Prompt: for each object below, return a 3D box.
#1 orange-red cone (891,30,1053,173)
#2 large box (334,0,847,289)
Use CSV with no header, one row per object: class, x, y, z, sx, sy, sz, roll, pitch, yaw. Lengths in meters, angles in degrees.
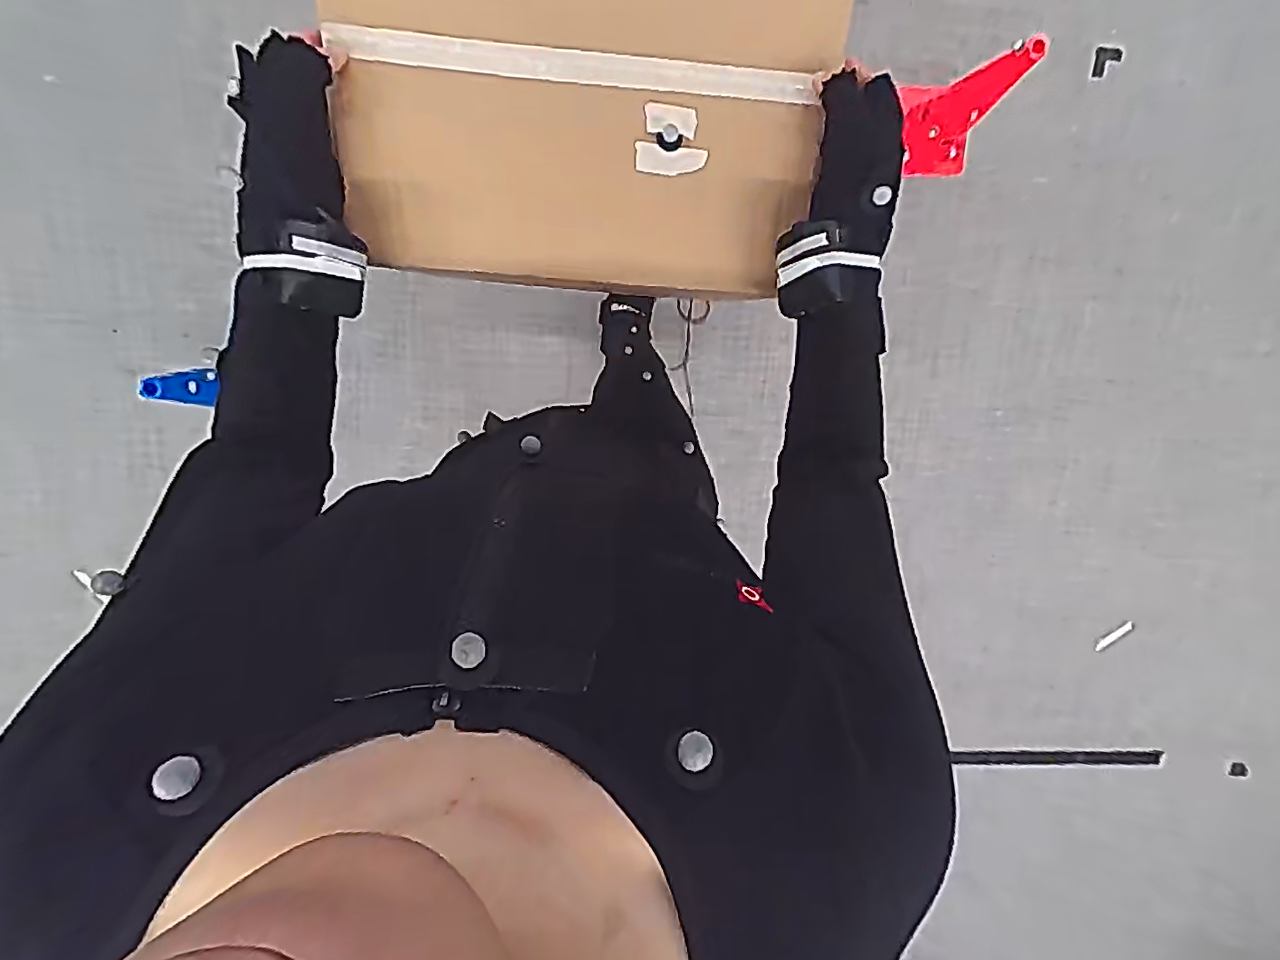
orange-red cone,0.732,-0.844,1.170,0.198,0.360,0.199,0,99,-4
large box,-0.048,-0.380,0.571,0.408,0.320,0.320,3,108,-5
